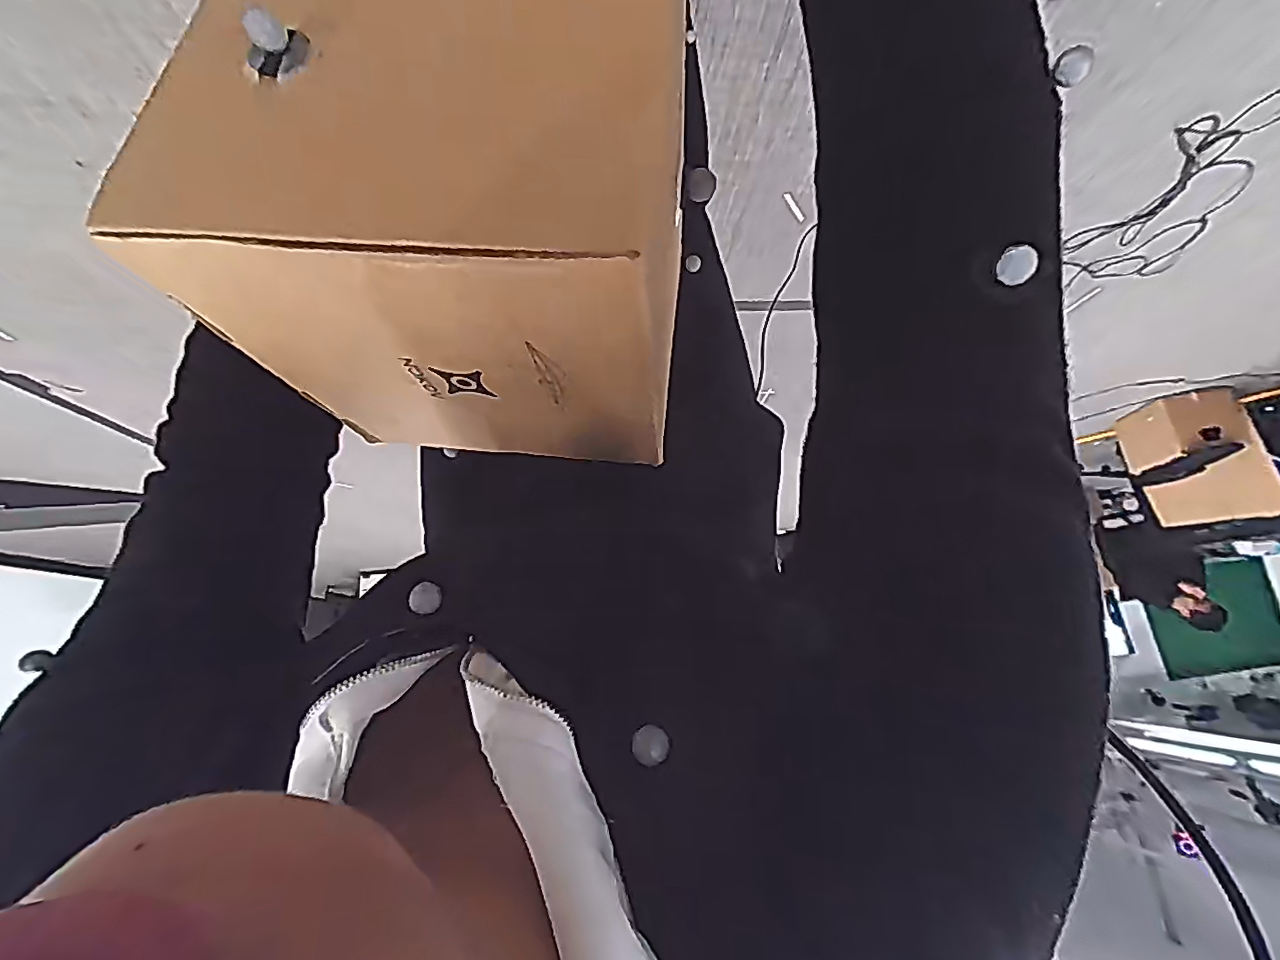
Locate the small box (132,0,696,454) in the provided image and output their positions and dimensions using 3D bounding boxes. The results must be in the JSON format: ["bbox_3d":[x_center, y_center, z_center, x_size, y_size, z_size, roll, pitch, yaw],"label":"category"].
[{"bbox_3d":[-0.068,-0.126,0.267,0.179,0.176,0.168,4,162,6],"label":"small box"}]
